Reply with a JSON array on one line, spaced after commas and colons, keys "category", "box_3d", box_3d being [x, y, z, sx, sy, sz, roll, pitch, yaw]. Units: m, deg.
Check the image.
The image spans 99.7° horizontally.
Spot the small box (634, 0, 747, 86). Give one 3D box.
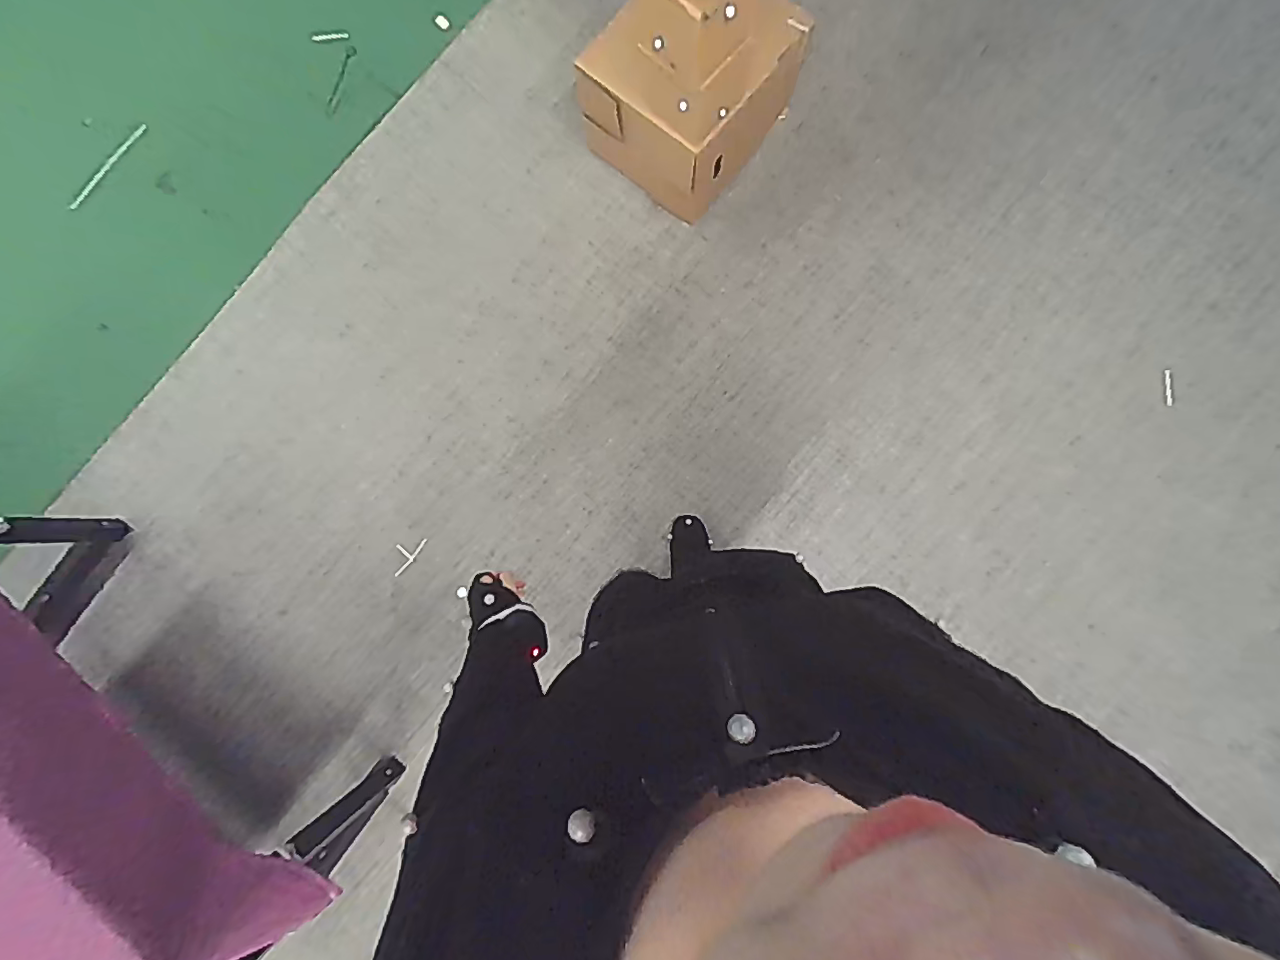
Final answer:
[{"category": "small box", "box_3d": [0.097, -0.937, 1.055, 0.168, 0.176, 0.179, 44, 88, 6]}]
